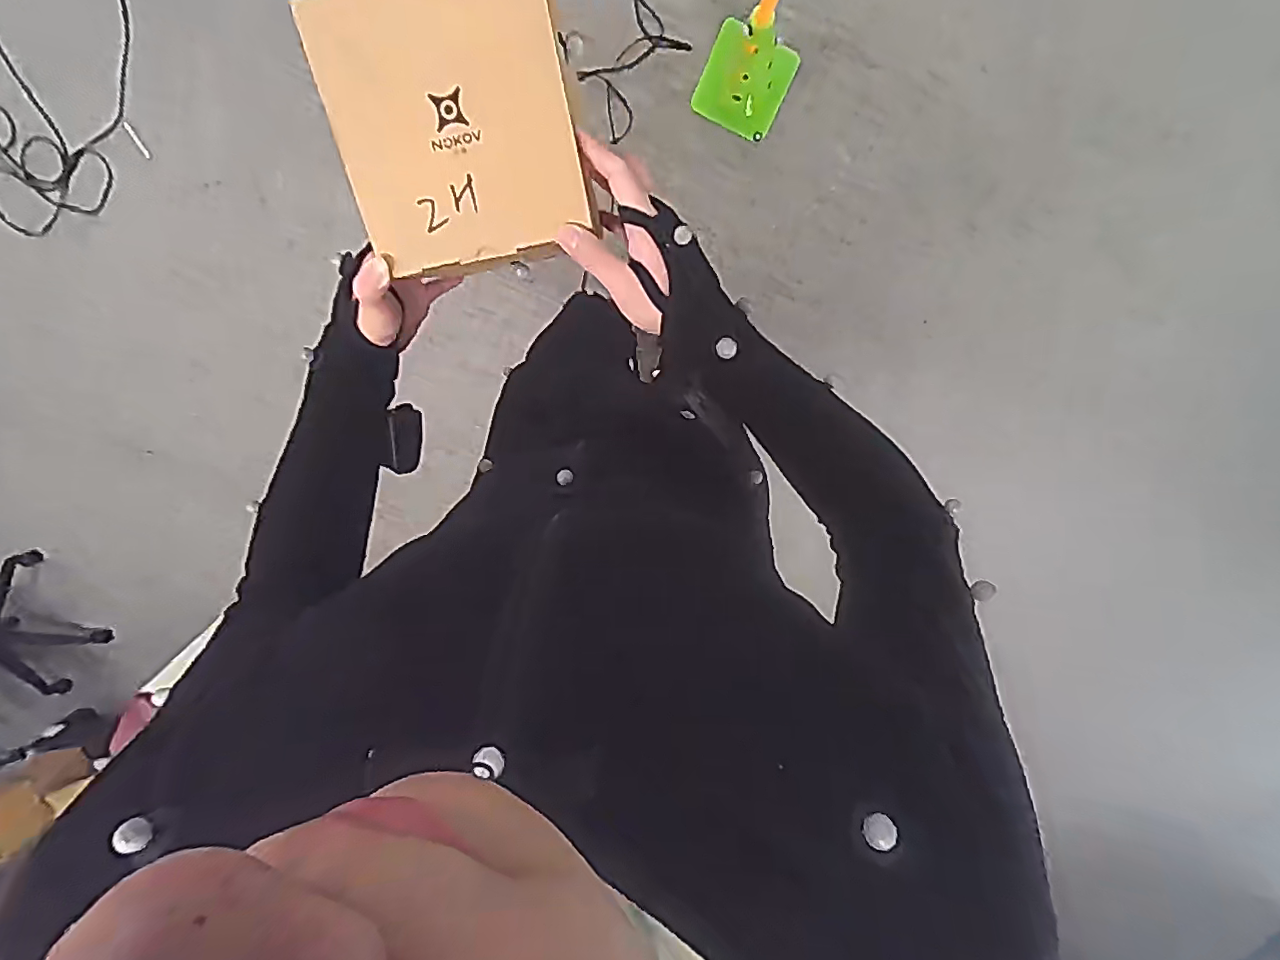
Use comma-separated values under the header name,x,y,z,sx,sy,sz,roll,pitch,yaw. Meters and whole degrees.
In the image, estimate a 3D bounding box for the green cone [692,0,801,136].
name,x,y,z,sx,sy,sz,roll,pitch,yaw
green cone,0.230,-0.884,1.096,0.202,0.368,0.200,25,110,-3
